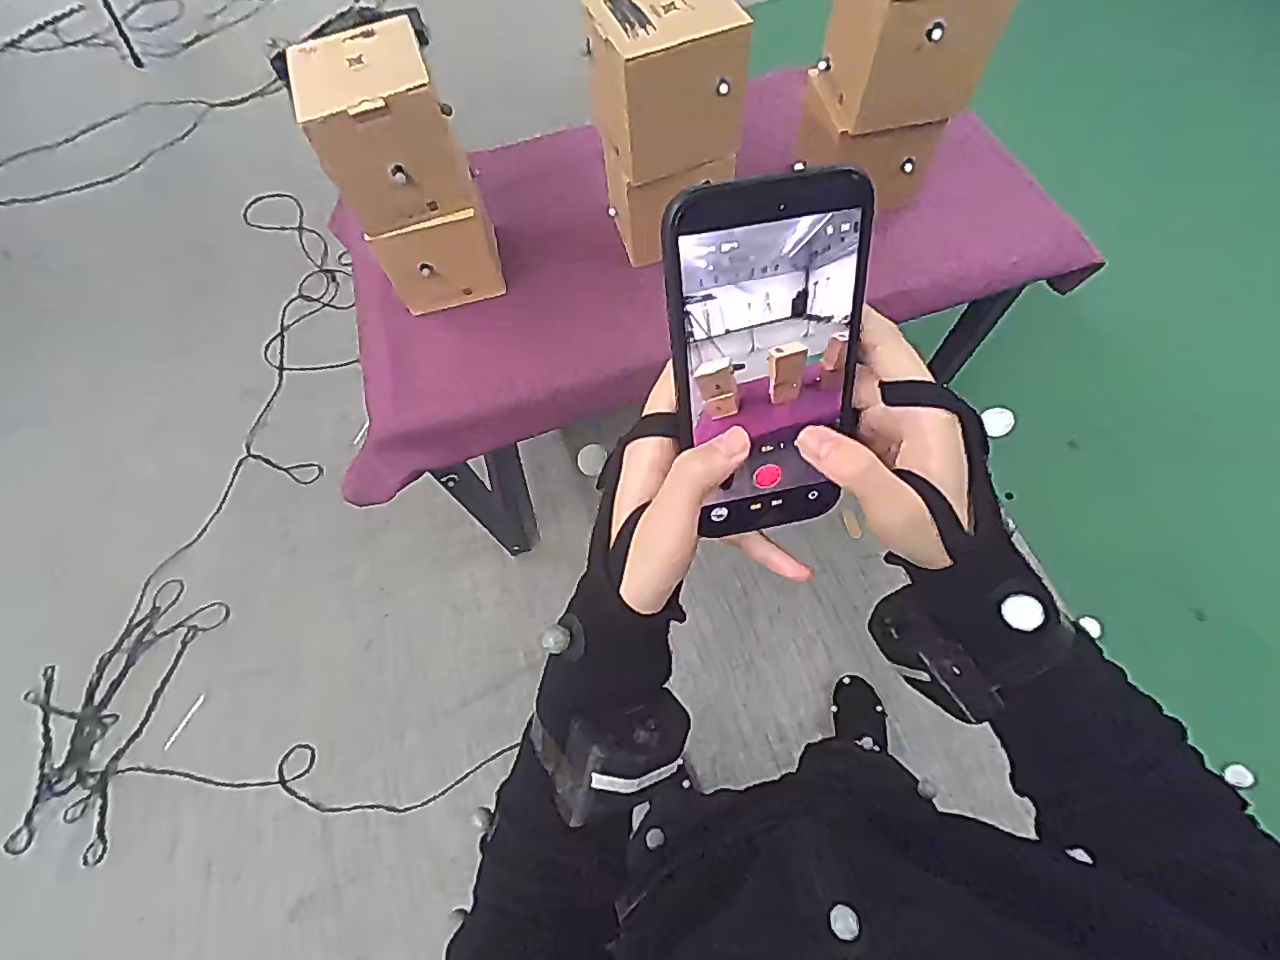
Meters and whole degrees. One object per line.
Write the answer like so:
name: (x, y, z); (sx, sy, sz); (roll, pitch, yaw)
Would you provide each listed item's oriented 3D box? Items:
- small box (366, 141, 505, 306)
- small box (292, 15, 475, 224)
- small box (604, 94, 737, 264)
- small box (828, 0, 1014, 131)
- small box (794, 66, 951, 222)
small box: (-0.334, -0.415, 0.902); (0.168, 0.176, 0.179); (-14, 66, -2)
small box: (-0.348, -0.488, 0.755); (0.168, 0.176, 0.179); (-19, 67, -5)
small box: (0.048, -0.497, 0.908); (0.179, 0.176, 0.168); (-15, 66, -2)
small box: (0.381, -0.627, 0.763); (0.179, 0.176, 0.168); (-9, 65, -1)
small box: (0.380, -0.572, 0.918); (0.179, 0.176, 0.168); (-9, 65, 0)
